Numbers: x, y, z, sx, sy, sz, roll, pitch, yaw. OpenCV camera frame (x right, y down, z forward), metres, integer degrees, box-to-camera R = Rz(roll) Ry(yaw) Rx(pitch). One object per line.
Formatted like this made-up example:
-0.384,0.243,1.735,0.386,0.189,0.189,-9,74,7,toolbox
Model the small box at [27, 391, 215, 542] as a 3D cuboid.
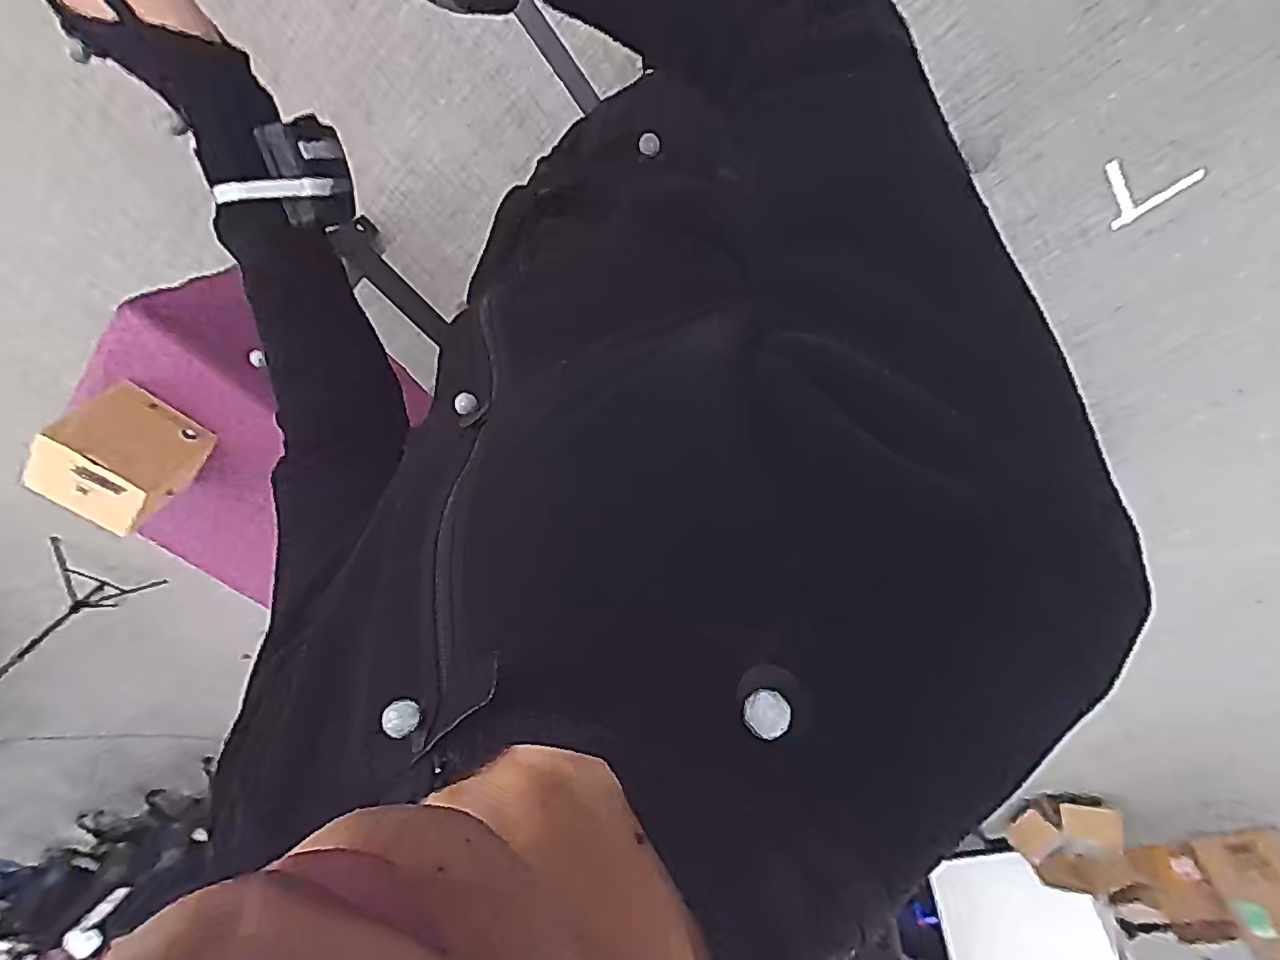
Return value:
-0.919,-0.028,0.972,0.179,0.176,0.168,-34,117,31,small box
